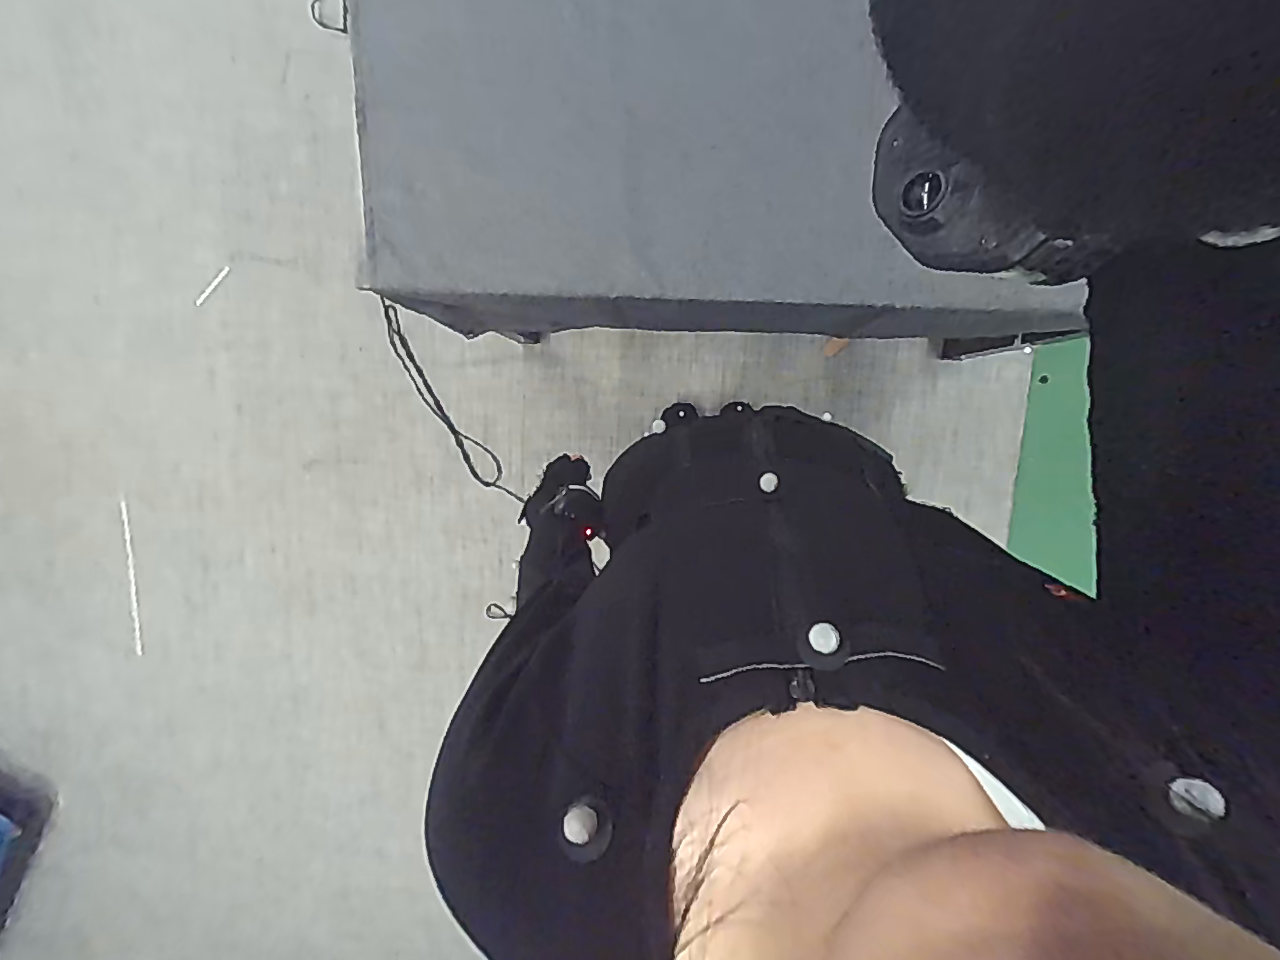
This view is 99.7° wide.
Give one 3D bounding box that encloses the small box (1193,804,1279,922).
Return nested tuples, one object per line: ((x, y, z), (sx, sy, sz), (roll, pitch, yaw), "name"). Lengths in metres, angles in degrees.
((1.479, 0.899, 1.276), (0.179, 0.176, 0.168), (3, 98, 3), "small box")

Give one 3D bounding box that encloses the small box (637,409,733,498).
((0.114, -0.074, 1.420), (0.179, 0.176, 0.168), (43, 110, 14), "small box")

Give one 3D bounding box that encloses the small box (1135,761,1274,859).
((1.490, 0.876, 1.438), (0.179, 0.176, 0.168), (3, 98, 4), "small box")
